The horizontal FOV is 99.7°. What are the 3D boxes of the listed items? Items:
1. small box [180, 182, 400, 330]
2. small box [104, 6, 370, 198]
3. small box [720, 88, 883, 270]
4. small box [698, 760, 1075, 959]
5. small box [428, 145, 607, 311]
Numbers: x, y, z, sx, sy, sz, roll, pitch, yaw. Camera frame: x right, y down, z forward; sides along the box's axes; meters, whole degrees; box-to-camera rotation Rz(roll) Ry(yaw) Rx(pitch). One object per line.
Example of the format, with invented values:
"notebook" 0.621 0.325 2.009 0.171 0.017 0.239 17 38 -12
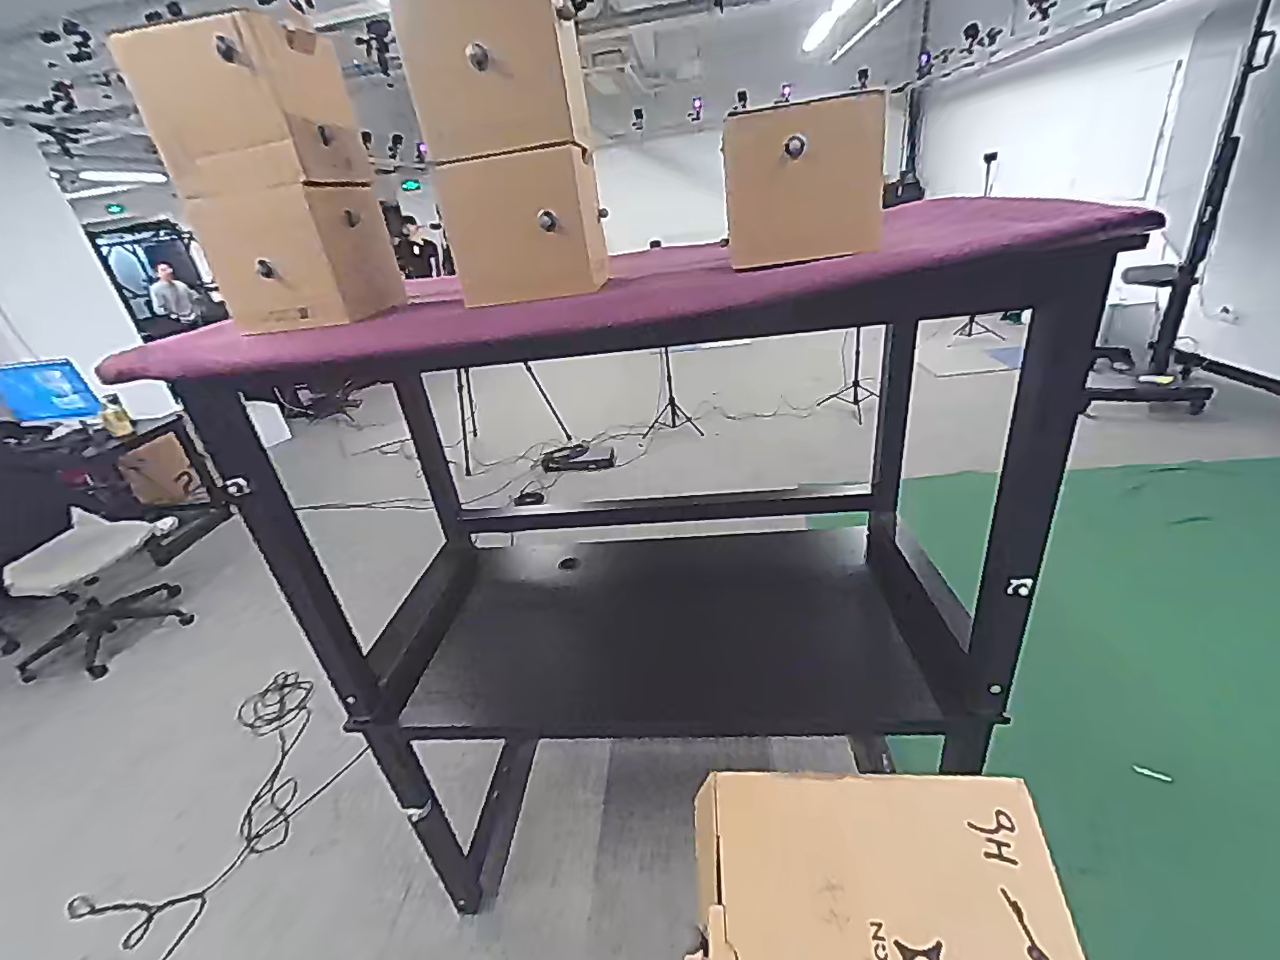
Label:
"small box" -0.466 -0.311 0.758 0.168 0.176 0.179 -3 28 6
"small box" -0.483 -0.454 0.682 0.179 0.176 0.168 -4 29 5
"small box" 0.199 -0.373 0.698 0.179 0.176 0.168 -4 25 9
"small box" 0.125 0.274 0.328 0.179 0.176 0.168 0 57 3
"small box" -0.147 -0.335 0.725 0.179 0.176 0.168 -5 27 7
